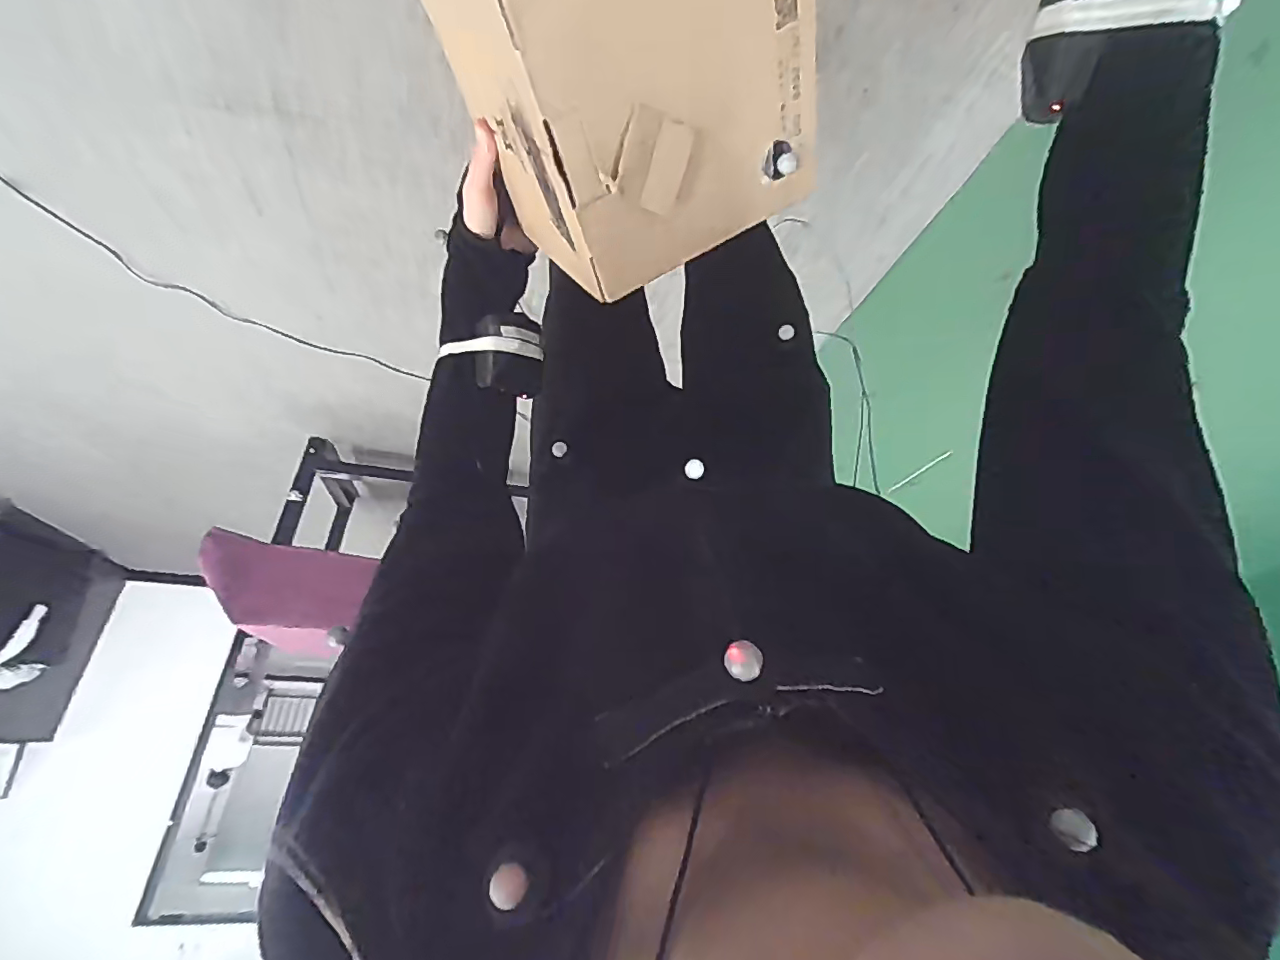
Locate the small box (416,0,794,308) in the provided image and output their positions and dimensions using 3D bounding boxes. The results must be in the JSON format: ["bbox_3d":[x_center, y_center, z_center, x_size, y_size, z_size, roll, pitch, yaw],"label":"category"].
[{"bbox_3d":[-0.014,-0.251,0.352,0.176,0.179,0.168,-29,138,-7],"label":"small box"}]
